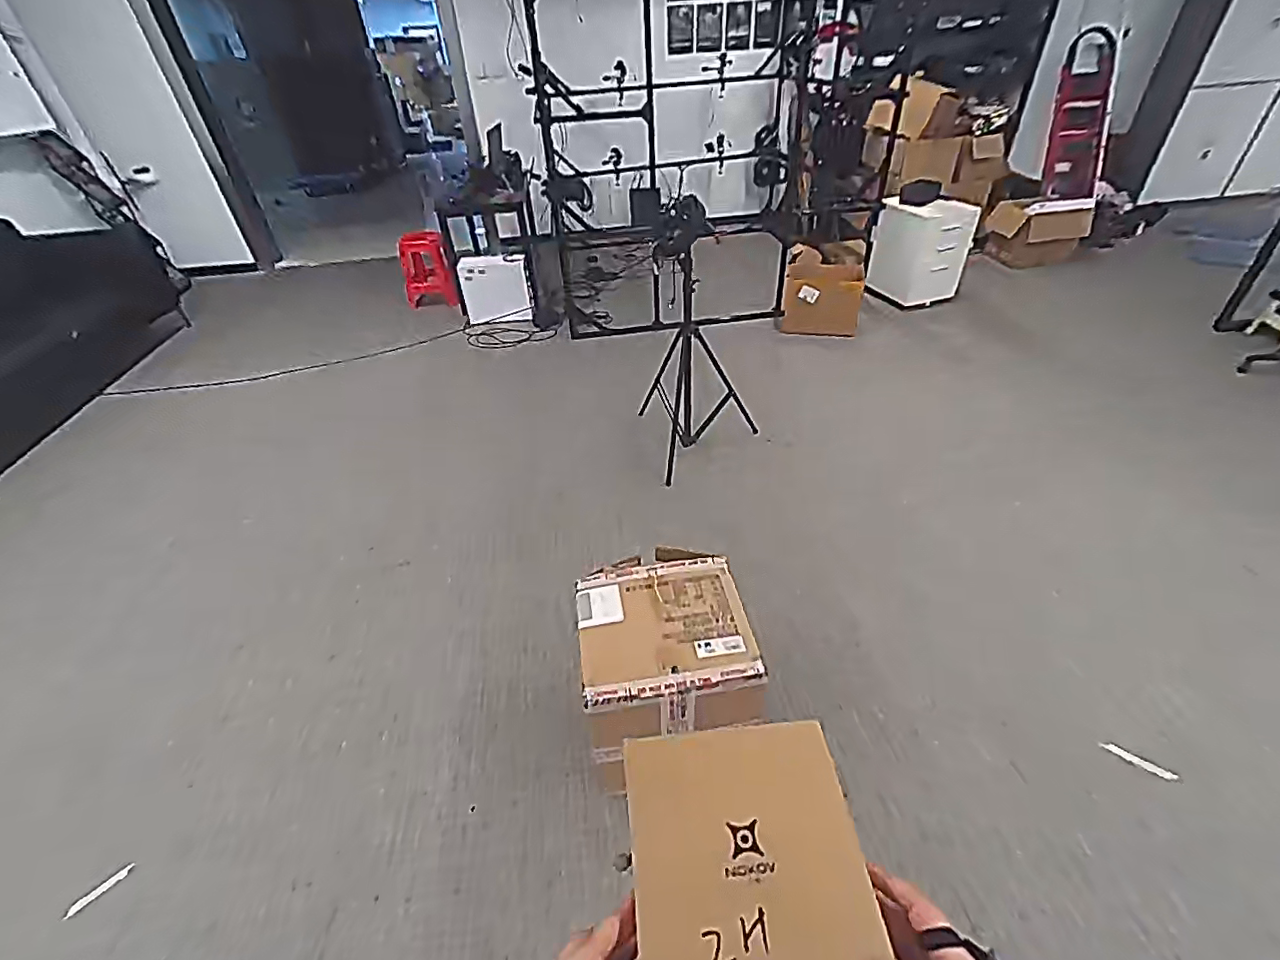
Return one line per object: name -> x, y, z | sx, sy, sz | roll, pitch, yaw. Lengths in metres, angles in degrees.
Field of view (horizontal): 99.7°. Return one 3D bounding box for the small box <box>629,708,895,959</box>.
small box -> 0.080, 0.320, 0.457 | 0.168, 0.176, 0.179 | -6, 45, -2
